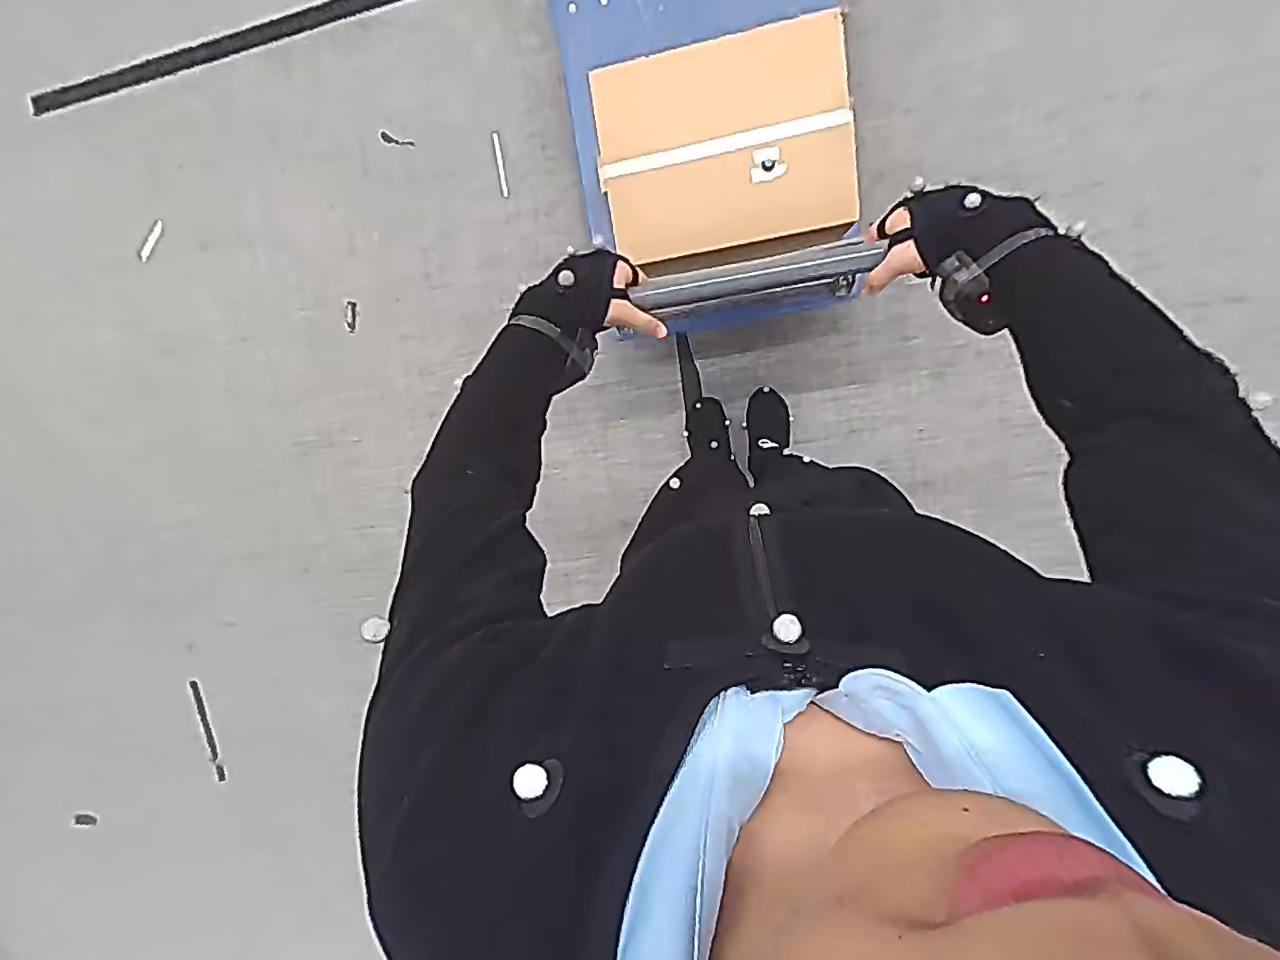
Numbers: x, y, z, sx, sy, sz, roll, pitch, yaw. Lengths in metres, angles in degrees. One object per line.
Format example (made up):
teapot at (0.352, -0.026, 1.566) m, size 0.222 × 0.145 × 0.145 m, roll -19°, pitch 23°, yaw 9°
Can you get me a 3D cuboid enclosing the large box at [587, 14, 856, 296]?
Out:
large box at (0.148, -0.562, 1.024) m, size 0.408 × 0.320 × 0.320 m, roll -8°, pitch 101°, yaw 8°
